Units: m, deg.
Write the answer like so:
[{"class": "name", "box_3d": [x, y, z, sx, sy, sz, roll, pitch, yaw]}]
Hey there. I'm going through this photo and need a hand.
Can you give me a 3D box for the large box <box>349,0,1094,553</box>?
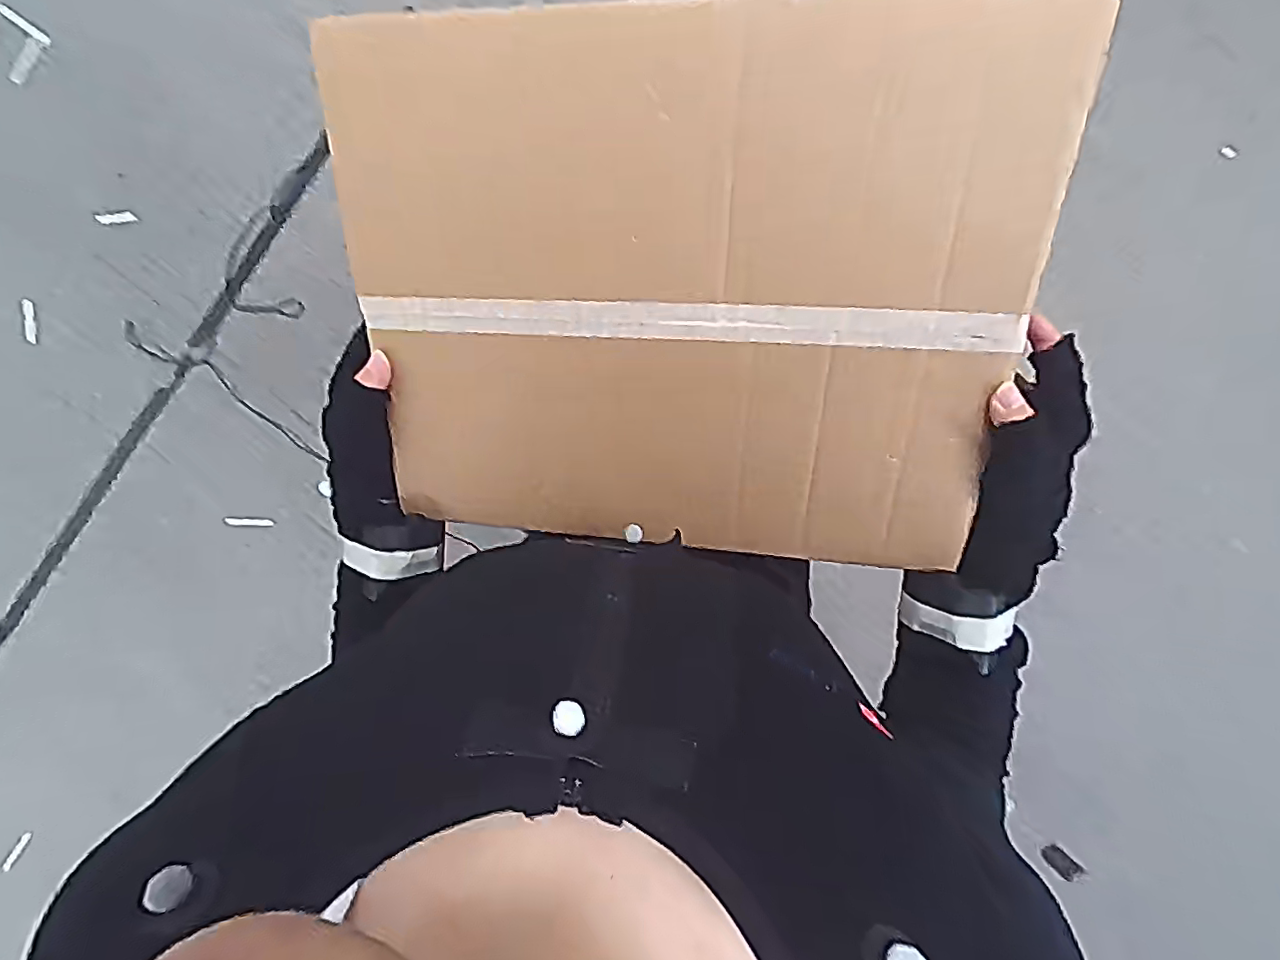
[{"class": "large box", "box_3d": [0.045, -0.160, 0.480, 0.408, 0.320, 0.320, 5, 115, 9]}]
